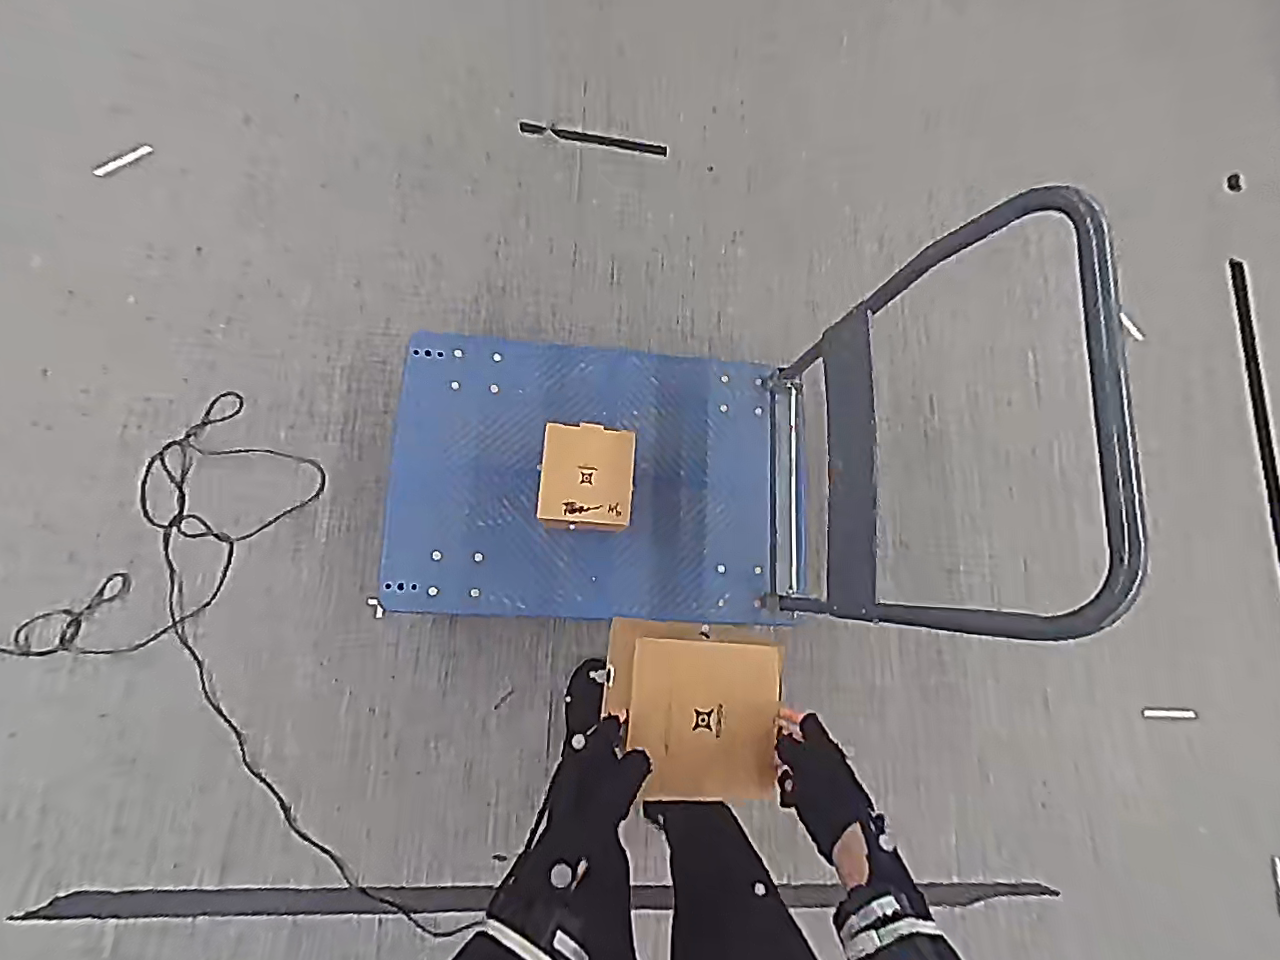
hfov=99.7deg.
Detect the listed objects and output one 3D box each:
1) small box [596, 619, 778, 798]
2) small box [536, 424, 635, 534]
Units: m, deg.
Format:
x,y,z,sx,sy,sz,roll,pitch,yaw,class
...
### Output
x,y,z,sx,sy,sz,roll,pitch,yaw,class
0.050,0.269,0.670,0.179,0.176,0.168,7,81,-11,small box
-0.107,0.005,1.050,0.168,0.176,0.179,6,79,-6,small box
